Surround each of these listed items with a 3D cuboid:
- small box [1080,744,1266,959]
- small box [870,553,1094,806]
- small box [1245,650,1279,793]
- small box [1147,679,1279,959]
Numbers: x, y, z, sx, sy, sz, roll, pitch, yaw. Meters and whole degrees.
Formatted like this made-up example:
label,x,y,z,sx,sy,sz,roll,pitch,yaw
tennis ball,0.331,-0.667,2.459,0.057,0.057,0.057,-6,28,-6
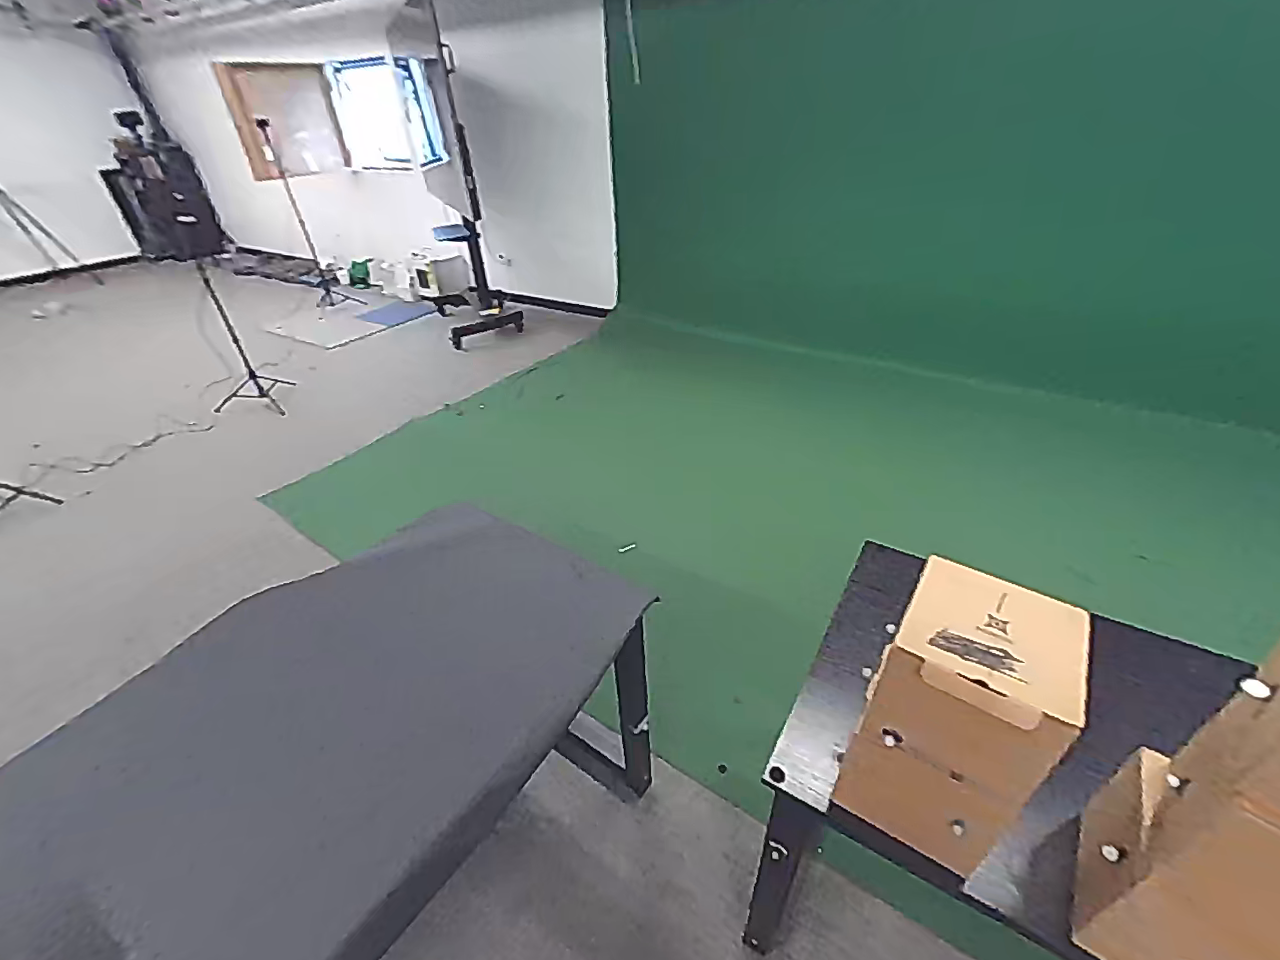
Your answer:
label,x,y,z,sx,sy,sz,roll,pitch,yaw
small box,0.607,0.439,0.579,0.168,0.176,0.179,22,42,31
small box,0.380,0.222,0.619,0.168,0.176,0.179,22,41,29
small box,0.595,0.177,0.385,0.179,0.176,0.168,-30,42,-31
small box,0.599,0.320,0.466,0.168,0.176,0.179,-31,43,-34
